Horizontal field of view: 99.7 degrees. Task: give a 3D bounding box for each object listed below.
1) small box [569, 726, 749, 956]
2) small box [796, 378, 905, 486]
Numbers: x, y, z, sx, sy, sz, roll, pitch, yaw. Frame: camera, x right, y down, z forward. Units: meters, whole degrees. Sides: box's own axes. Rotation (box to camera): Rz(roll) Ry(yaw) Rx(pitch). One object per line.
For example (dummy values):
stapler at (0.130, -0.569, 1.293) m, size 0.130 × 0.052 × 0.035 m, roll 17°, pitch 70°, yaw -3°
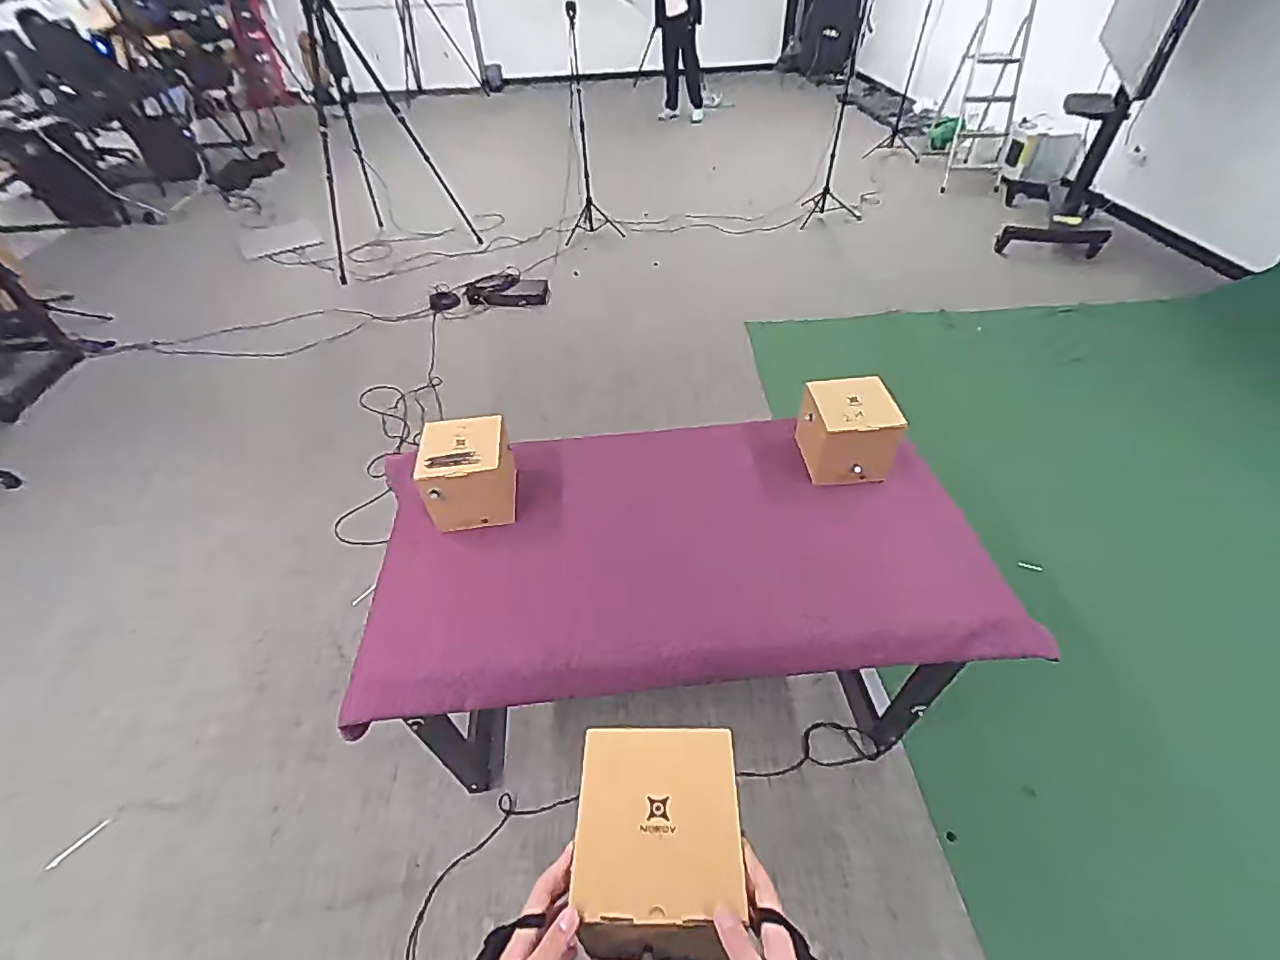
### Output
small box at (0.022, 0.396, 0.598) m, size 0.168 × 0.176 × 0.179 m, roll -2°, pitch 42°, yaw 3°
small box at (0.461, -0.108, 1.218) m, size 0.168 × 0.176 × 0.179 m, roll -5°, pitch 47°, yaw 0°
